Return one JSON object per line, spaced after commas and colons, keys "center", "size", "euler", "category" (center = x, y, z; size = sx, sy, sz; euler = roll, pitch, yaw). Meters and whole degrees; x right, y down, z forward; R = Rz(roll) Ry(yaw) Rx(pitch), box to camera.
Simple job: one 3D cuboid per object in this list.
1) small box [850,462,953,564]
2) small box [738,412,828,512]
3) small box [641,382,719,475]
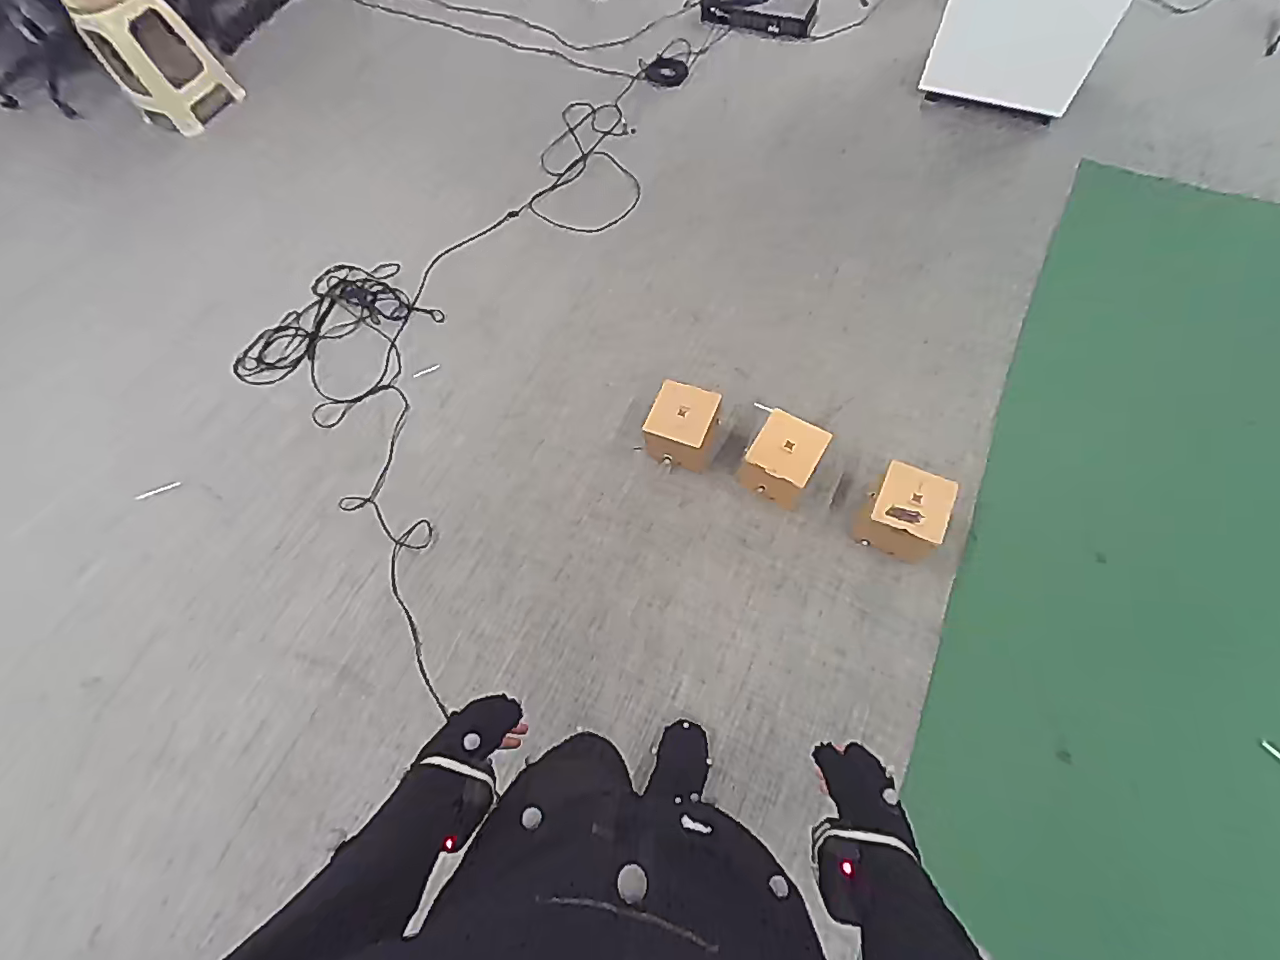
{"center": [0.652, 0.090, 1.369], "size": [0.168, 0.176, 0.179], "euler": [24, 69, 14], "category": "small box"}
{"center": [0.375, -0.045, 1.452], "size": [0.168, 0.176, 0.179], "euler": [29, 72, 16], "category": "small box"}
{"center": [0.114, -0.141, 1.515], "size": [0.168, 0.176, 0.179], "euler": [19, 71, 15], "category": "small box"}
